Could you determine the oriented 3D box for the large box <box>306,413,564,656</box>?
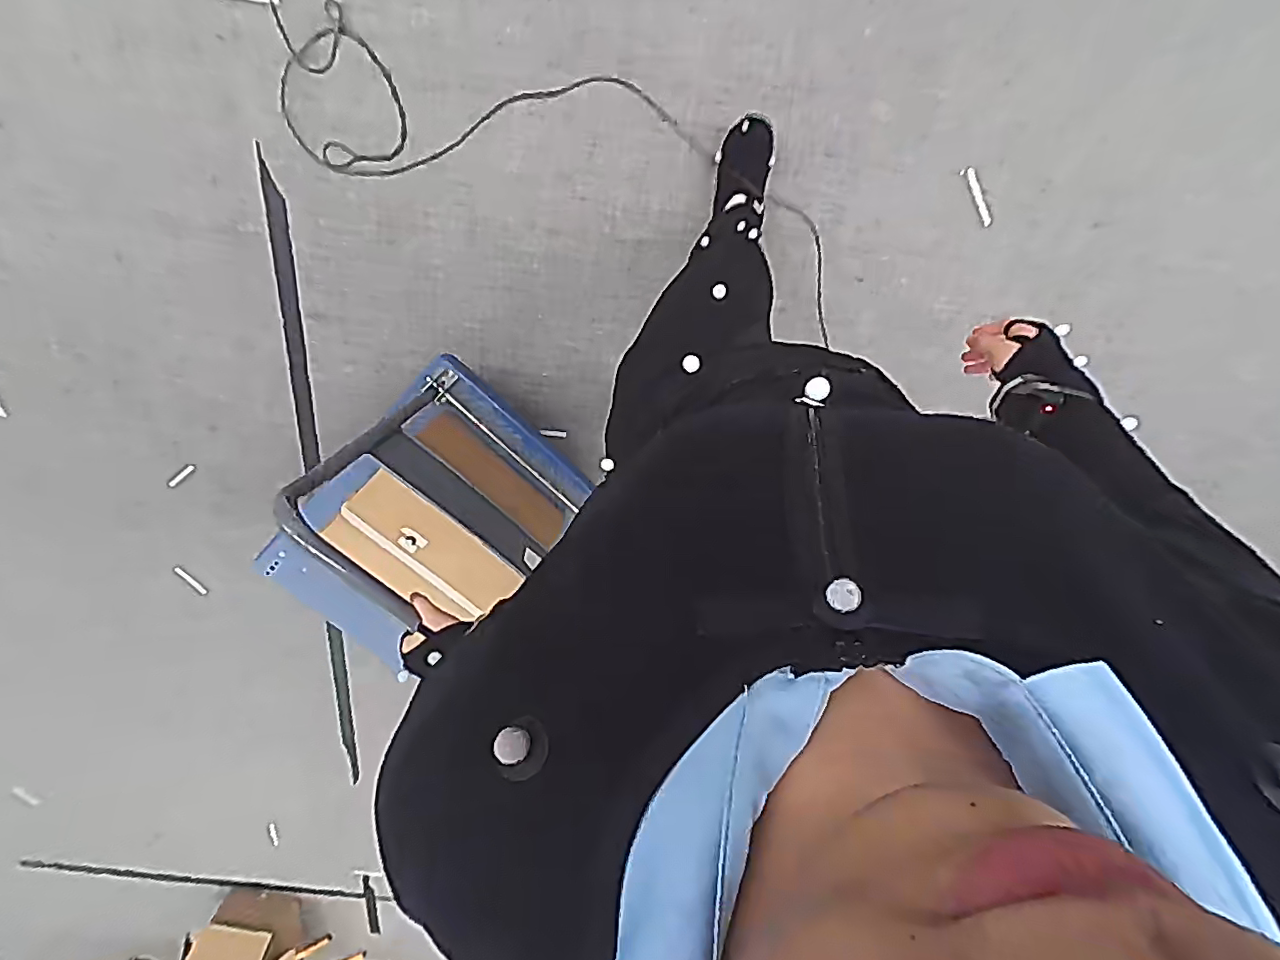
[{"bbox_3d":[-0.443,0.119,1.263,0.320,0.320,0.408,-40,108,18],"label":"large box"}]
